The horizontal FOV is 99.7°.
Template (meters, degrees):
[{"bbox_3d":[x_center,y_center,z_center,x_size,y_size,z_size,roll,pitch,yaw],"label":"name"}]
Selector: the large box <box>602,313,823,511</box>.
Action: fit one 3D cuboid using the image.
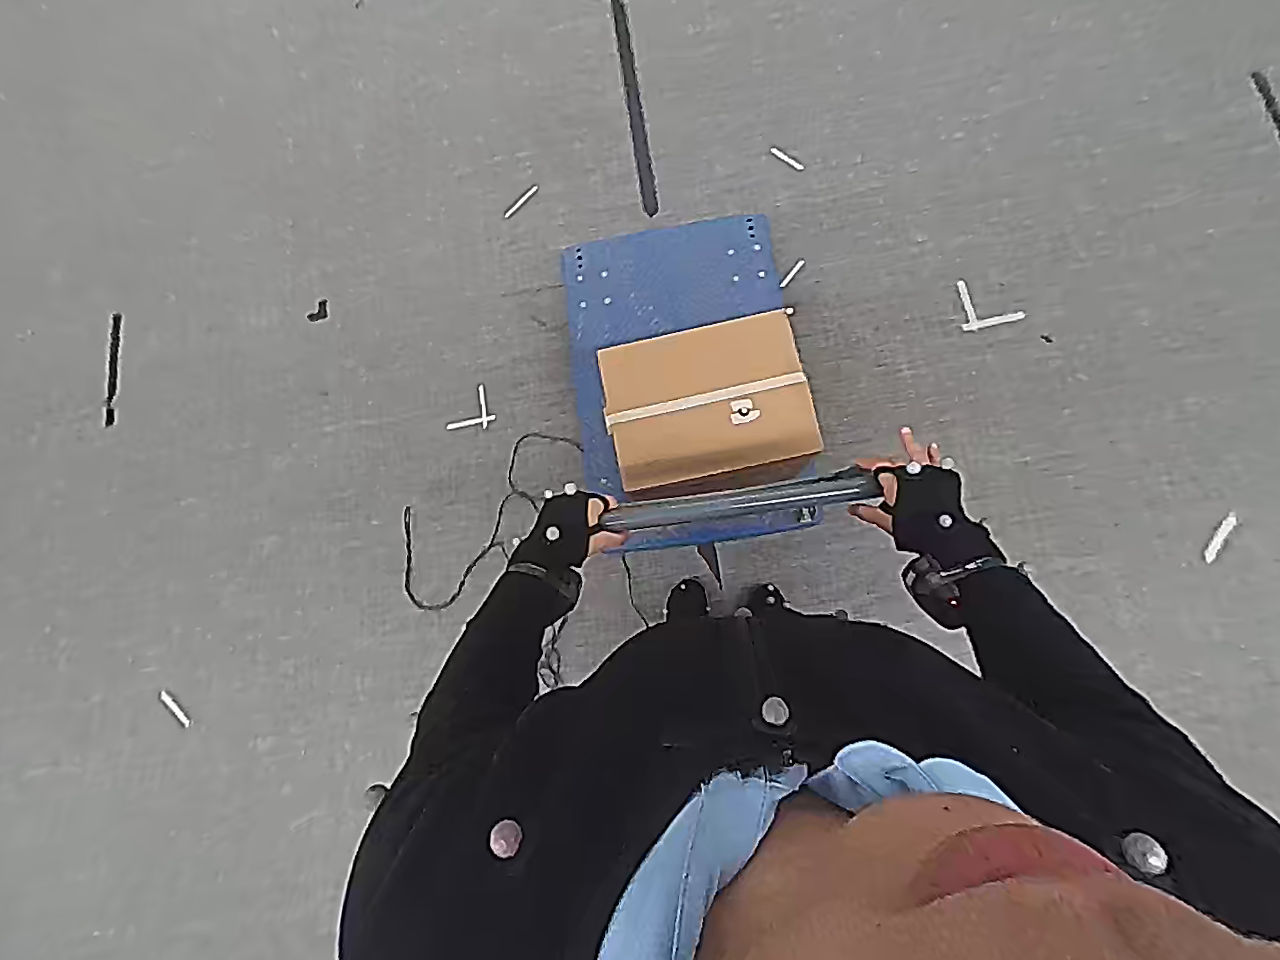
[{"bbox_3d":[0.151,-0.133,1.252,0.408,0.320,0.320,-12,80,2],"label":"large box"}]
